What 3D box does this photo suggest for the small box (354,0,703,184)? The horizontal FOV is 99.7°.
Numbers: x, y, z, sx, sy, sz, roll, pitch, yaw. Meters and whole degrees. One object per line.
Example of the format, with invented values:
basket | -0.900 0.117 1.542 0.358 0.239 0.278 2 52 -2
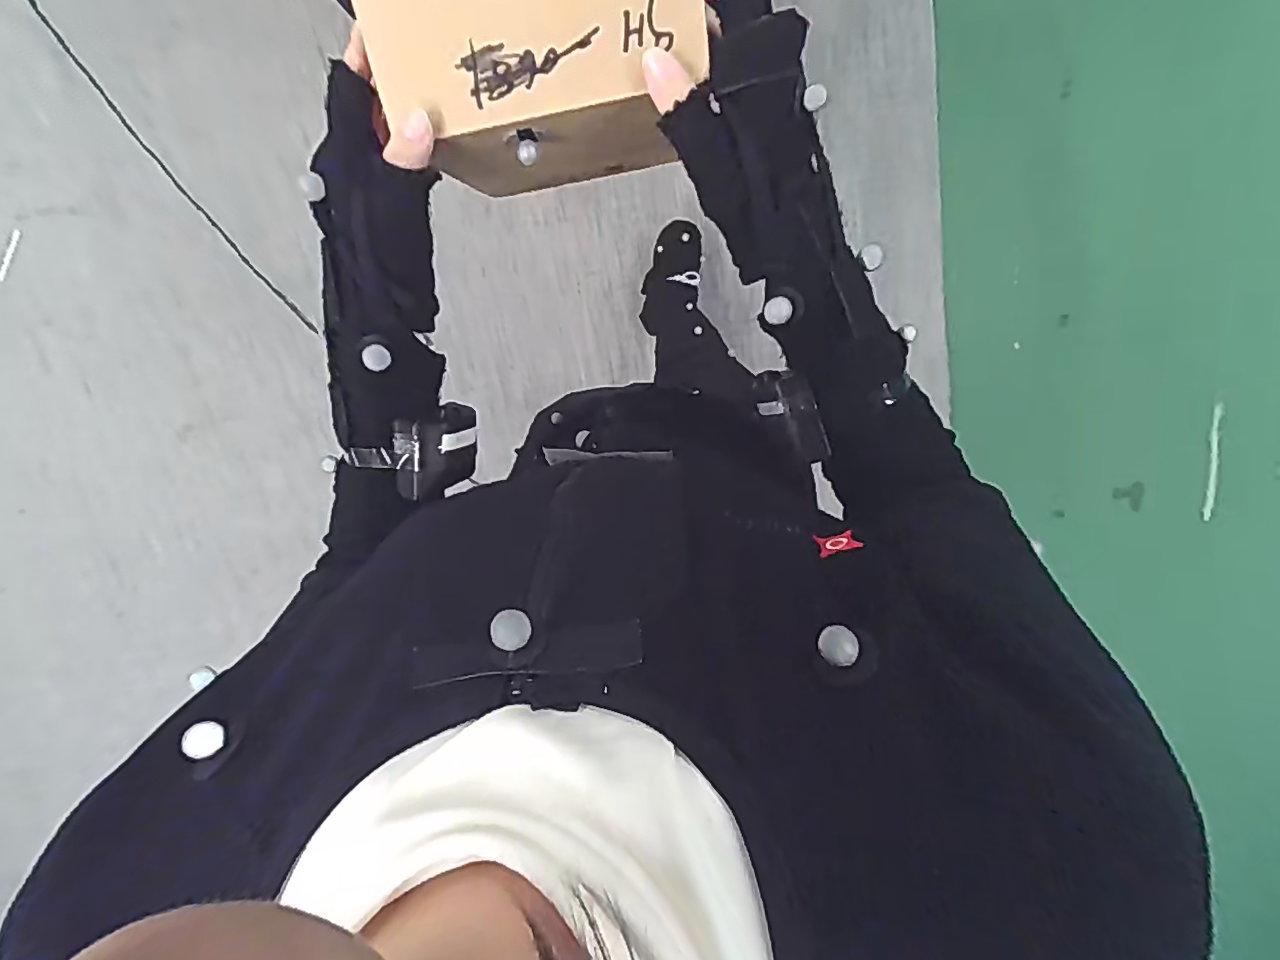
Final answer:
small box | -0.060 -0.300 0.320 0.168 0.176 0.179 -9 108 6
